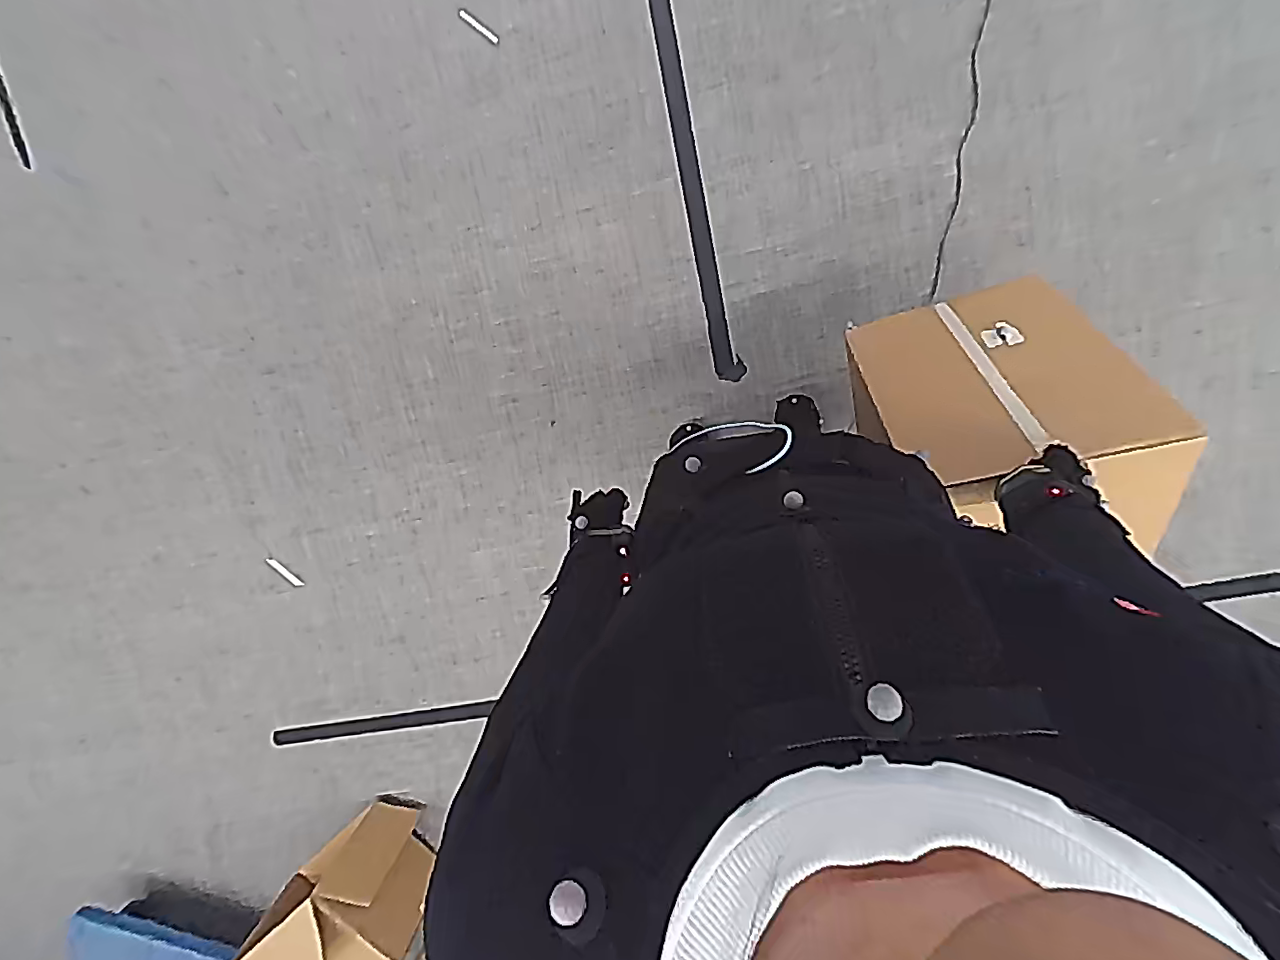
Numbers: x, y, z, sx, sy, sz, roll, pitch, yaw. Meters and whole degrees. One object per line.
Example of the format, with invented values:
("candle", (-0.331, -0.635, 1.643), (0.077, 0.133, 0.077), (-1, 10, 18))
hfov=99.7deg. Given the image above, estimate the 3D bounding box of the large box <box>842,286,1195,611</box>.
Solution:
("large box", (0.560, -0.053, 0.899), (0.320, 0.408, 0.320), (-13, 132, 14))
